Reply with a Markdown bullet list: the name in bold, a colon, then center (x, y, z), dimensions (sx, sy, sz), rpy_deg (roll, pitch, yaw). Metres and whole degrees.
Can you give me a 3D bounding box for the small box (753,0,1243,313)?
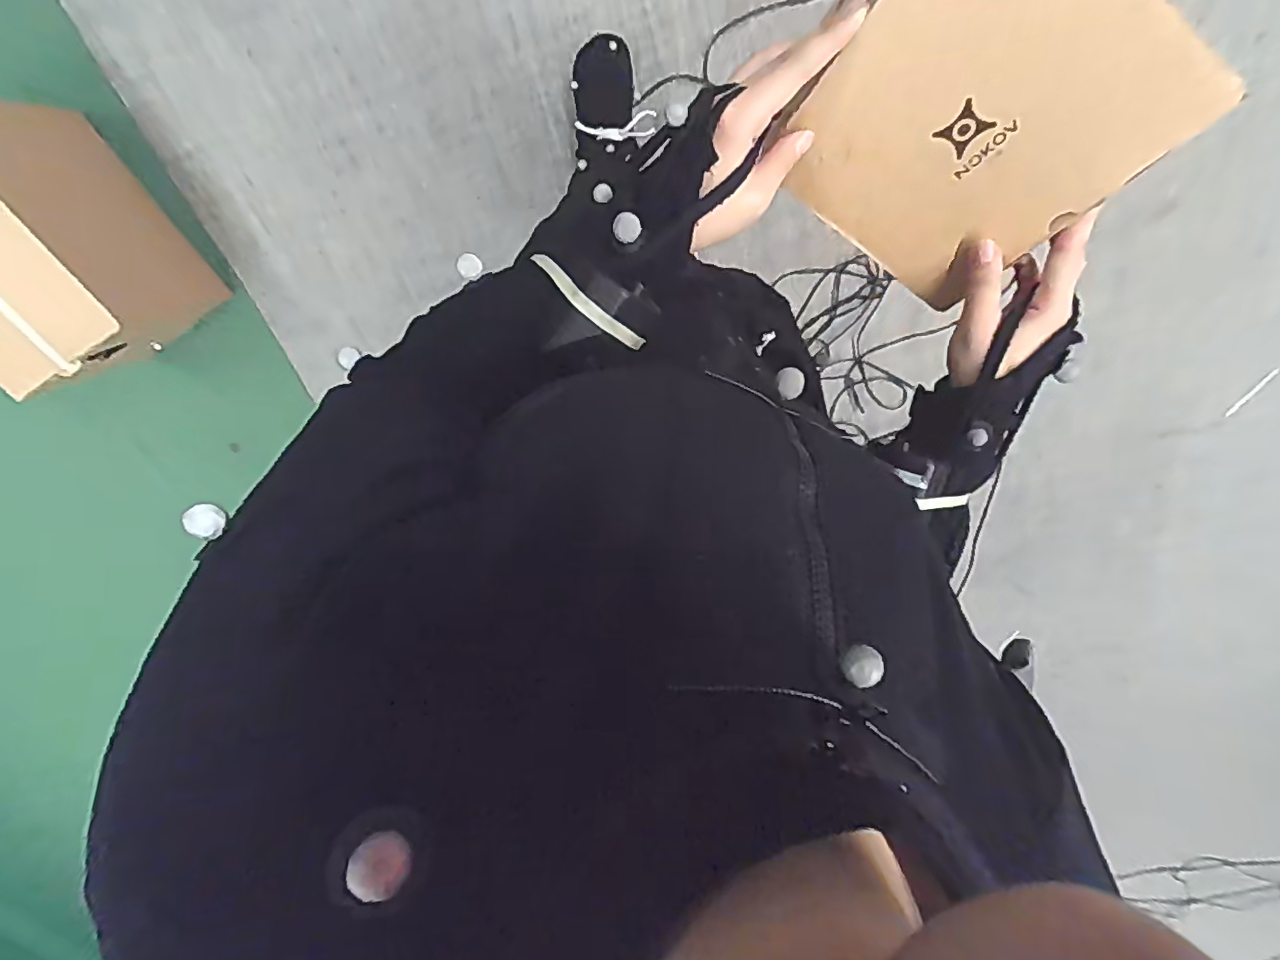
- **small box**: center (0.199, -0.253, 0.344), dimensions (0.179, 0.176, 0.168), rpy_deg (29, 143, -15)
